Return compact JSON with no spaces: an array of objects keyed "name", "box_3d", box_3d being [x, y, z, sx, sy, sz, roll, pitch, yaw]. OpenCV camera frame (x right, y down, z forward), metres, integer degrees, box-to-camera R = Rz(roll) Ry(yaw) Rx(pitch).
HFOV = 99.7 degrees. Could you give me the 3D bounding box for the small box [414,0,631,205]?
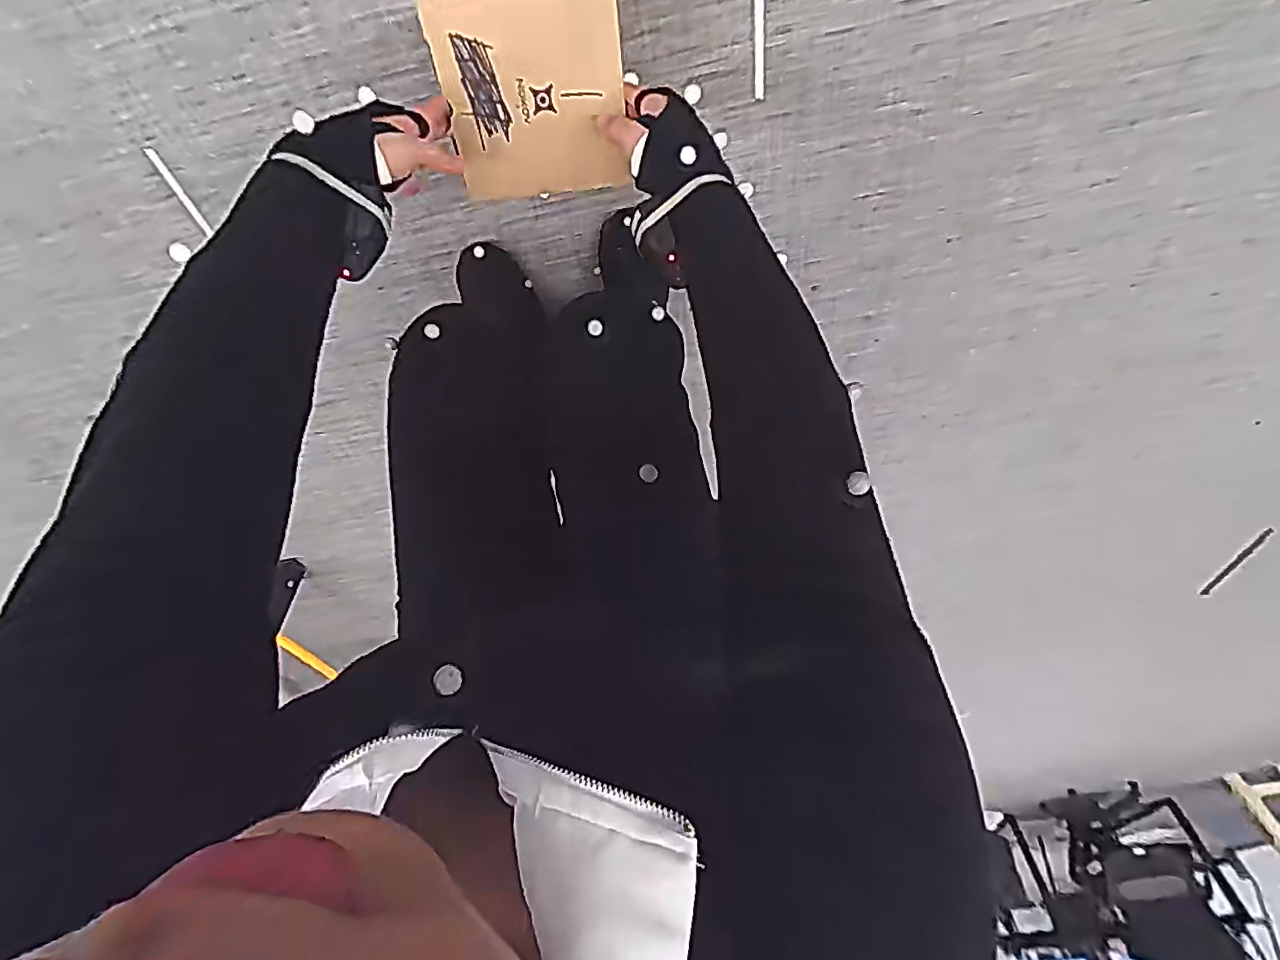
[{"name":"small box","box_3d":[-0.104,-0.406,0.568,0.179,0.176,0.168,-6,132,1]}]
